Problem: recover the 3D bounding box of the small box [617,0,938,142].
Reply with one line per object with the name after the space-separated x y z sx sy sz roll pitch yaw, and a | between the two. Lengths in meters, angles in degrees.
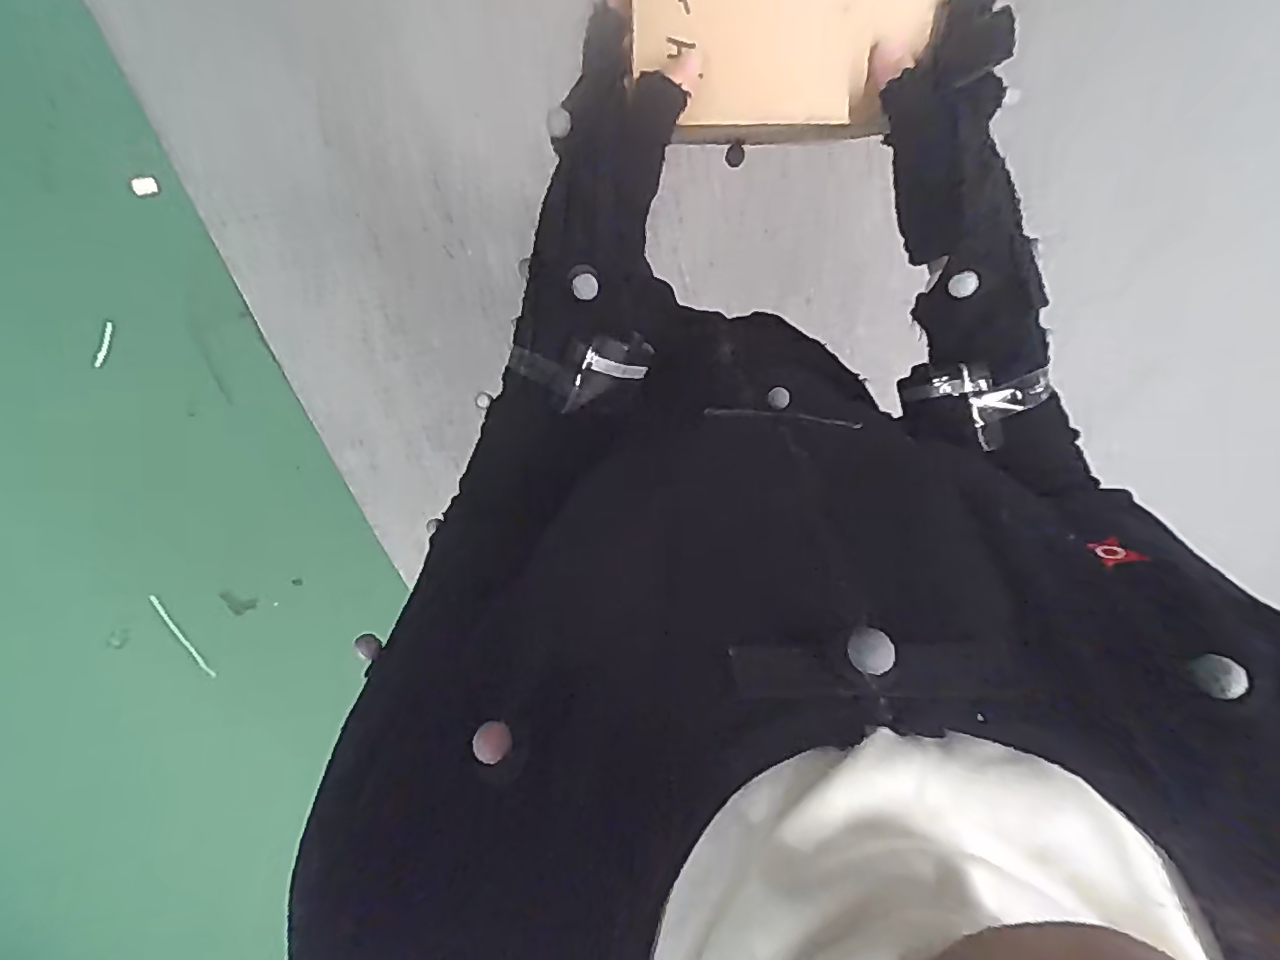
0.076 -0.328 0.356 0.179 0.176 0.168 -2 118 -3 | small box
